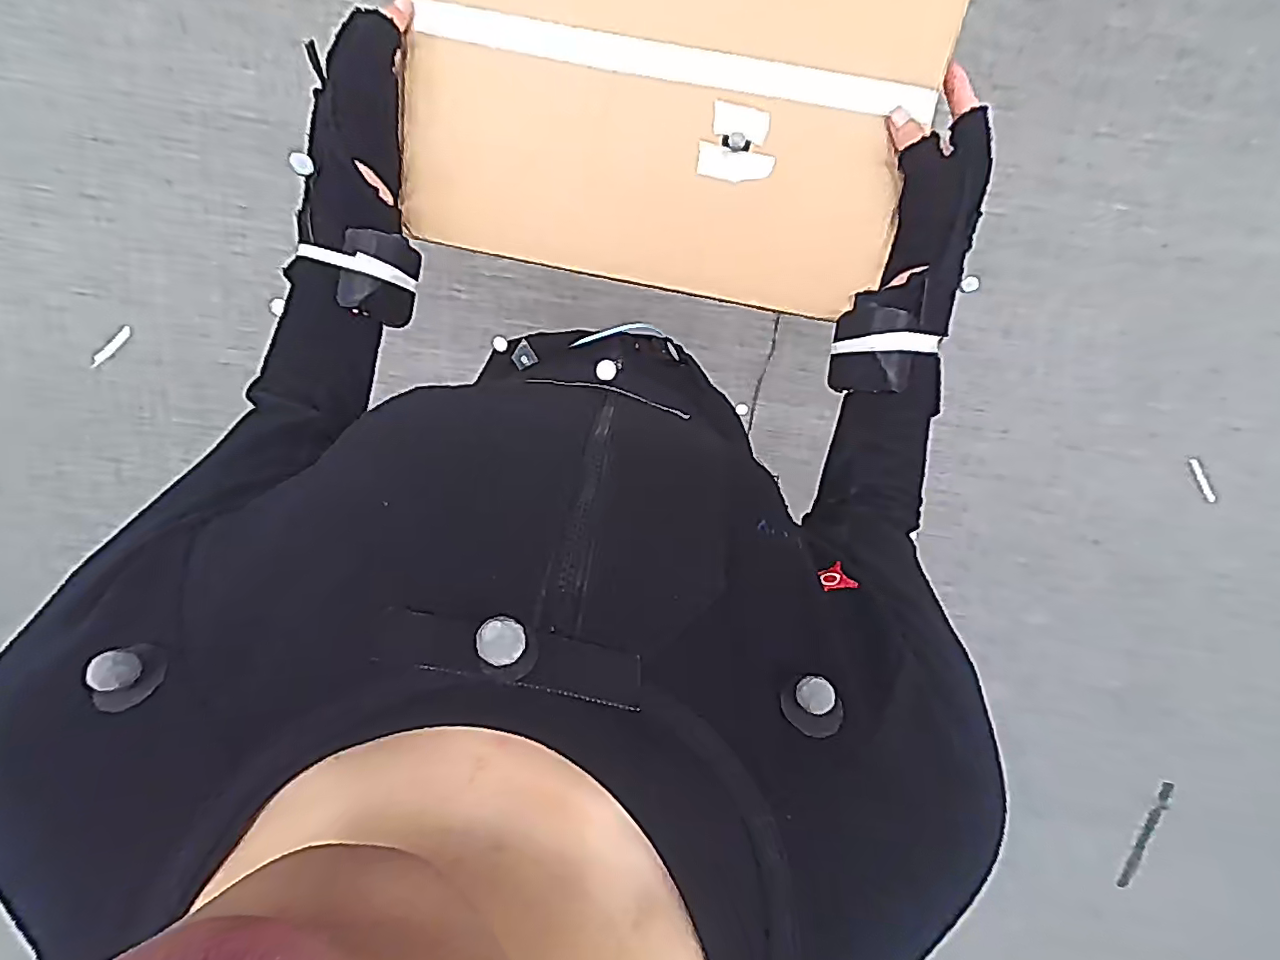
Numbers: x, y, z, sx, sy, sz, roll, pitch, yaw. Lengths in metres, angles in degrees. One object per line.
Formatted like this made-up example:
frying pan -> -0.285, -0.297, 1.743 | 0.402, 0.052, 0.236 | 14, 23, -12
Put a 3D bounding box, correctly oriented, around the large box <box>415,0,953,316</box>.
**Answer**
large box -> 0.032, -0.368, 0.561 | 0.408, 0.320, 0.320 | 12, 111, 1
